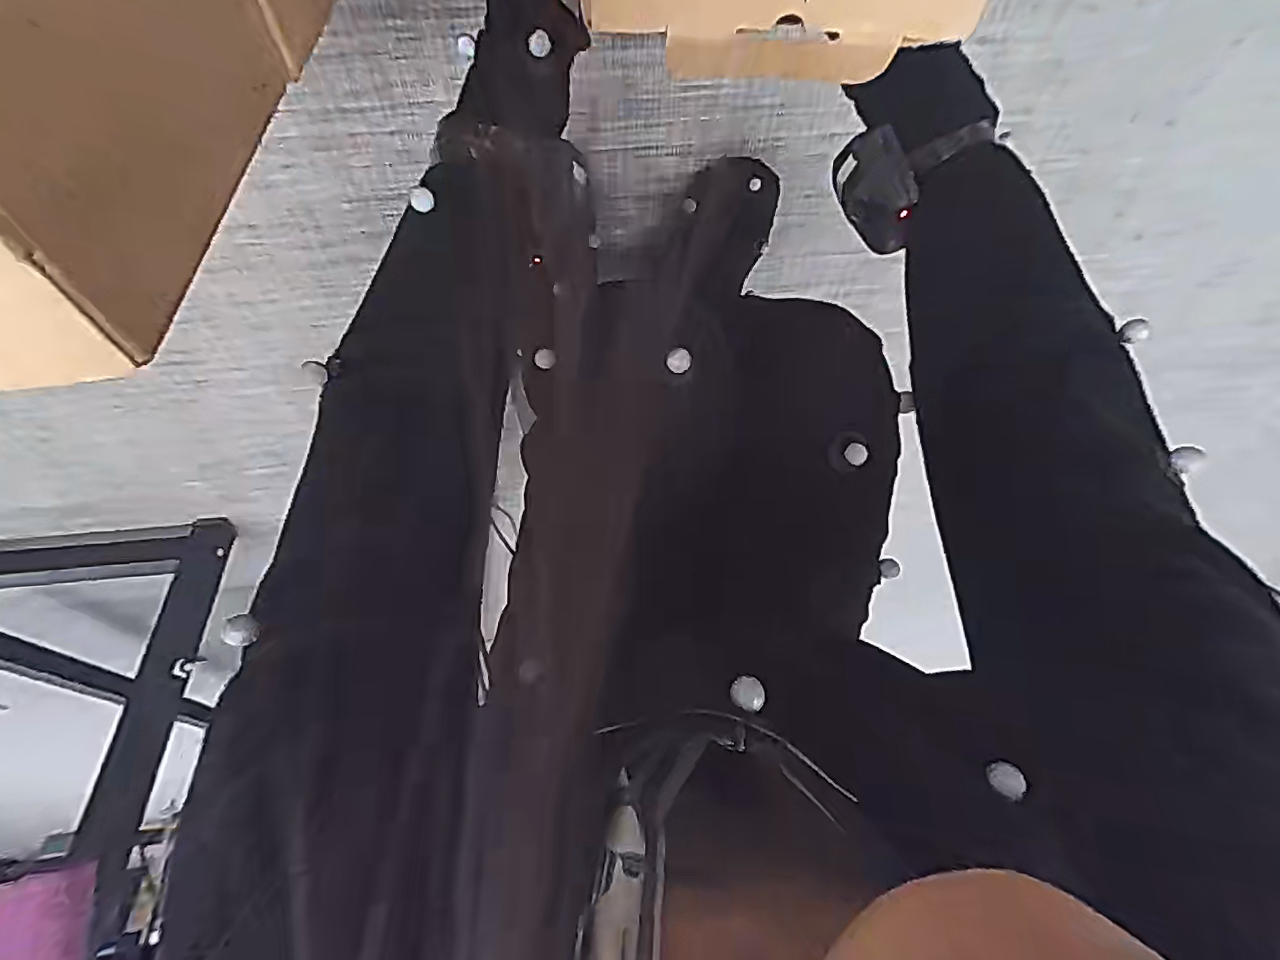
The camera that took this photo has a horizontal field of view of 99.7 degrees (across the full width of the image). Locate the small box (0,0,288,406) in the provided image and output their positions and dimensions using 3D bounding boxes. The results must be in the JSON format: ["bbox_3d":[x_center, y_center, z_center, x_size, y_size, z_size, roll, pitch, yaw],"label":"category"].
[{"bbox_3d":[-0.205,-0.126,0.097,0.179,0.176,0.168,-7,147,-6],"label":"small box"}]

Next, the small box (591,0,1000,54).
[{"bbox_3d":[0.061,-0.295,0.197,0.168,0.176,0.179,-4,145,-8],"label":"small box"}]
